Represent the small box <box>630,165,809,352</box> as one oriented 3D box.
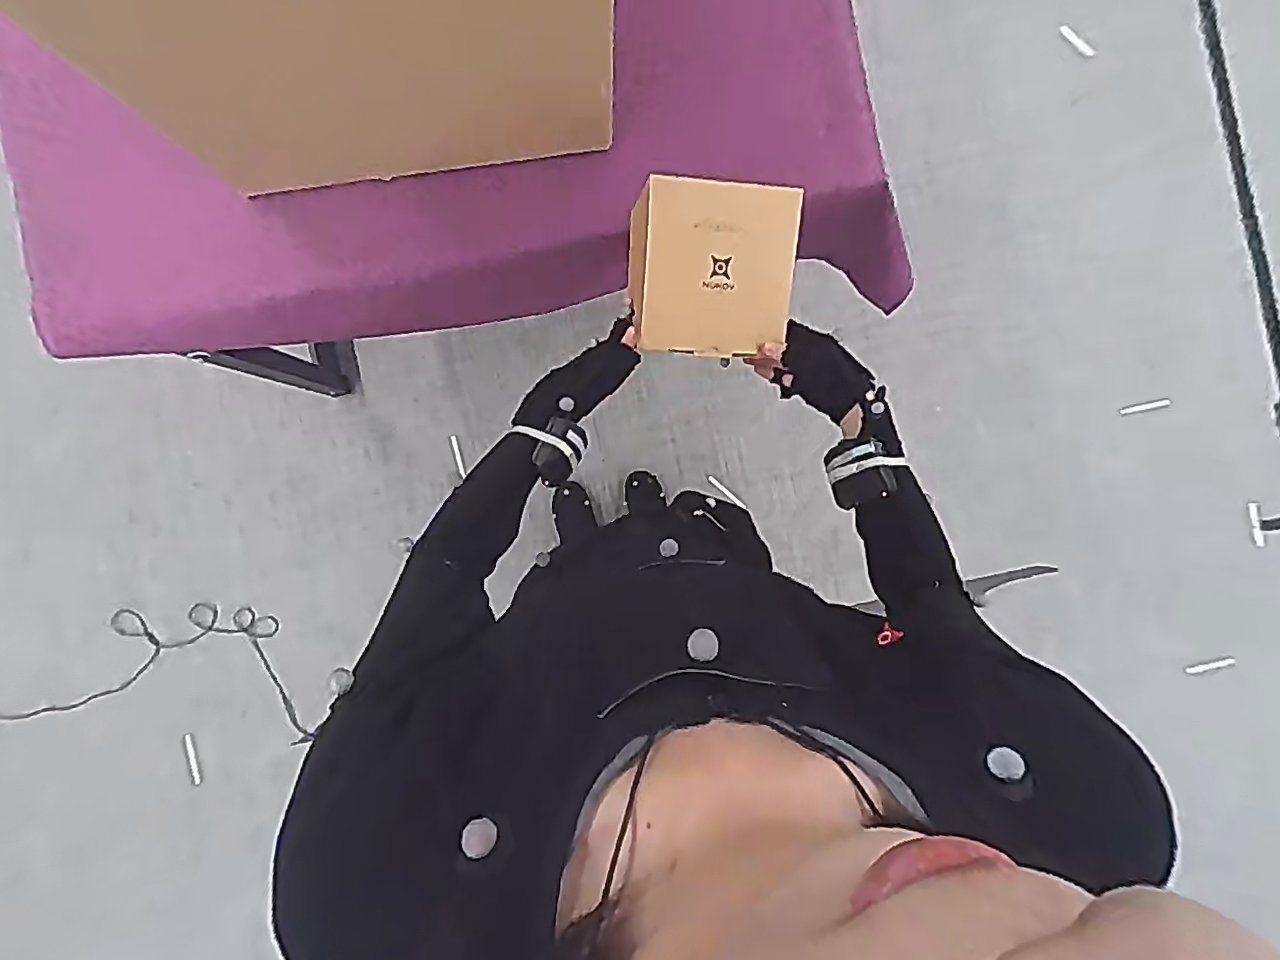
[{"bbox_3d":[0.081,-0.249,0.650,0.168,0.176,0.179,1,103,-9],"label":"small box"}]
